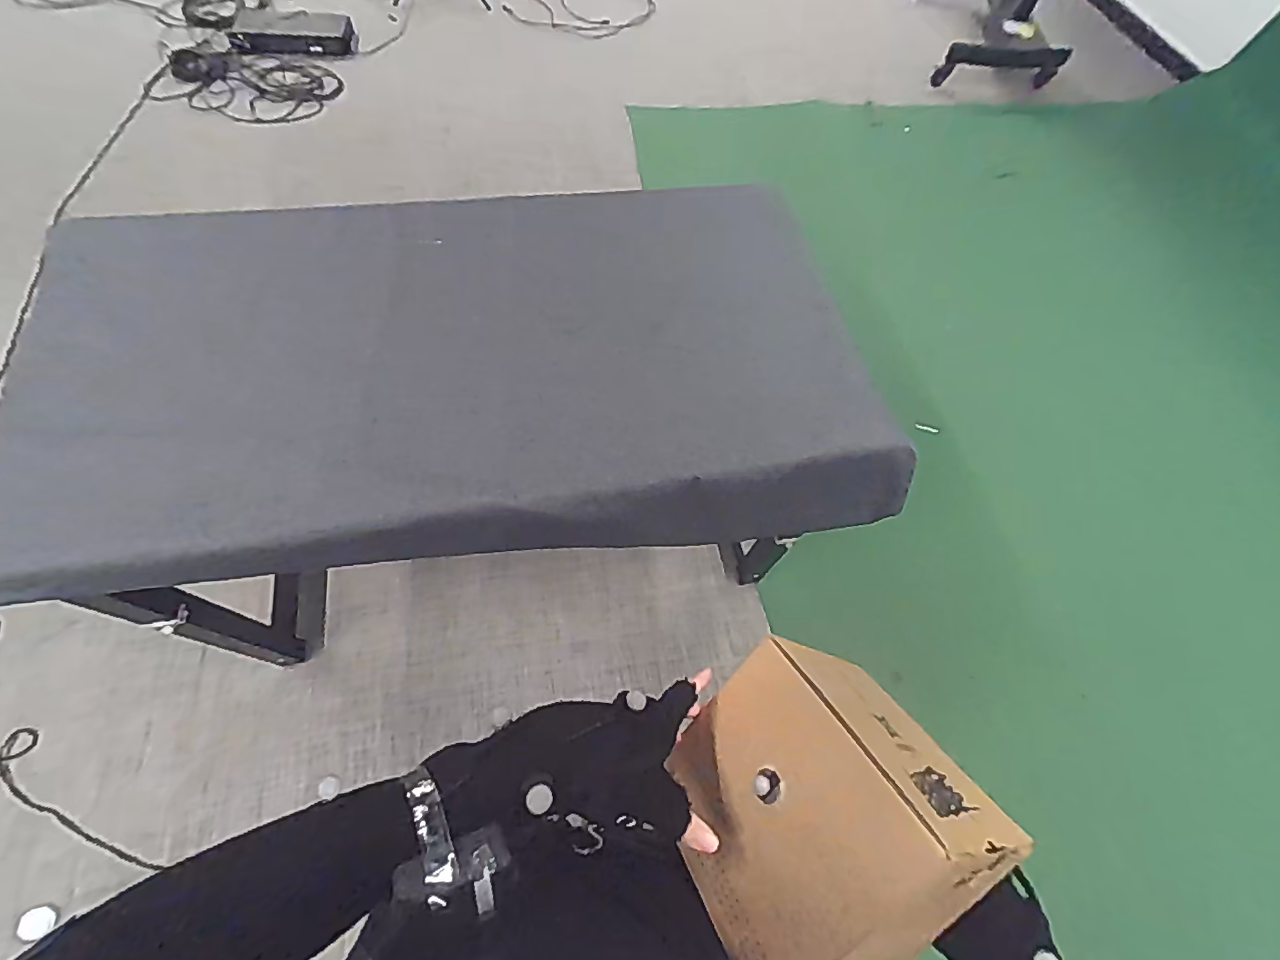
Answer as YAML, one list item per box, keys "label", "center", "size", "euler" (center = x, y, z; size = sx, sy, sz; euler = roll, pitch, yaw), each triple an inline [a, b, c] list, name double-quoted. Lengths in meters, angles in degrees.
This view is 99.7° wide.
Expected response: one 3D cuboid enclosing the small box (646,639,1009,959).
- label: "small box"
  center: [0.136, 0.265, 0.434]
  size: [0.176, 0.168, 0.179]
  euler: [-52, 37, 10]
